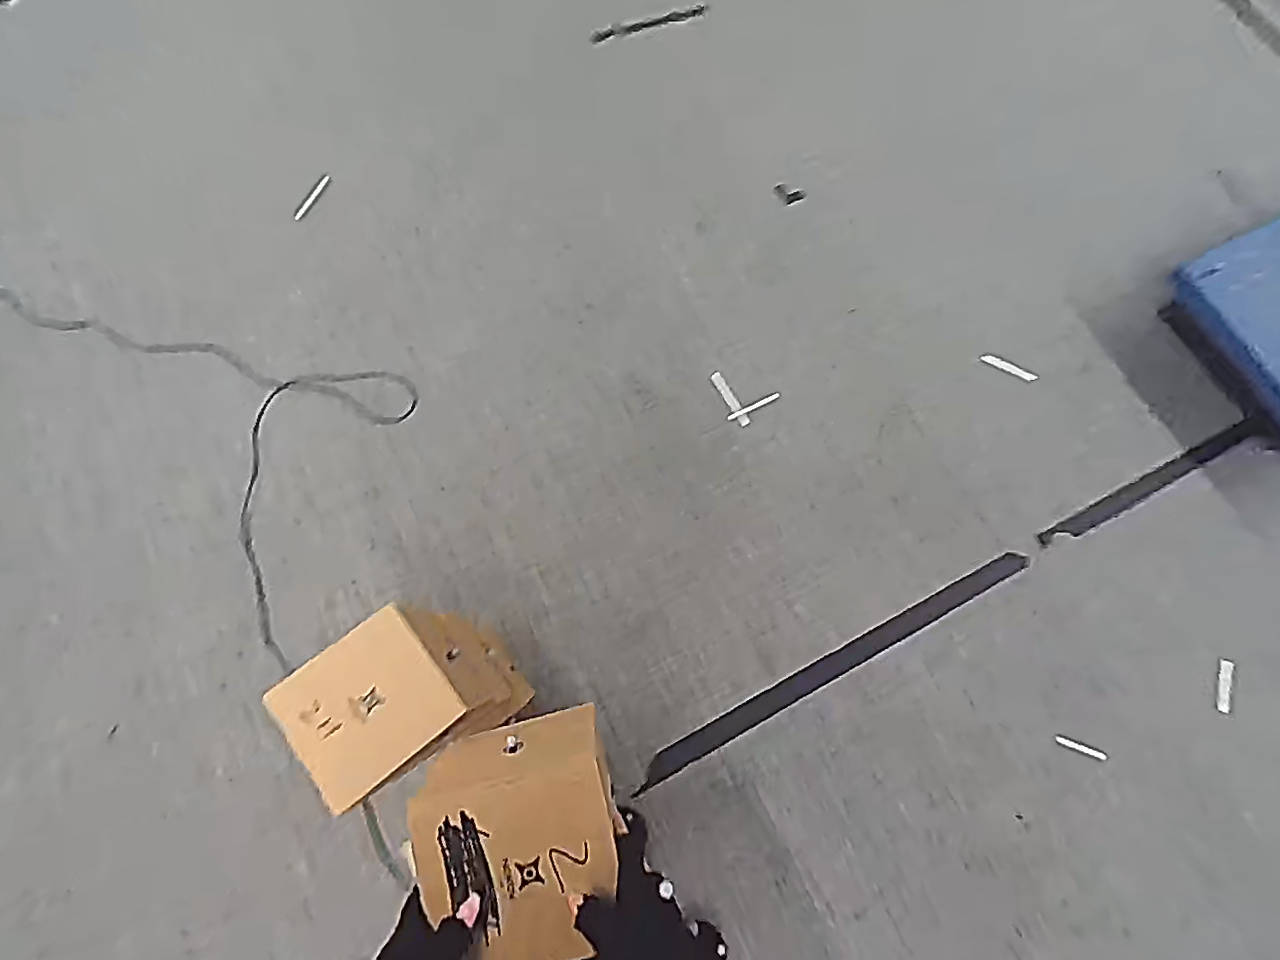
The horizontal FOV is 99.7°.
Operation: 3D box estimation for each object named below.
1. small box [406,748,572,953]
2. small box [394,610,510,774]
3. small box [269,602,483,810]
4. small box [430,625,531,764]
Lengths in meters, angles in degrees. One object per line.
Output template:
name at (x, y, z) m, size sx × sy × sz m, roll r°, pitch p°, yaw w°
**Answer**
small box at (-0.218, 0.541, 0.825) m, size 0.179 × 0.176 × 0.168 m, roll -31°, pitch 78°, yaw -13°
small box at (-0.332, 0.333, 0.875) m, size 0.179 × 0.176 × 0.168 m, roll -34°, pitch 79°, yaw -14°
small box at (-0.328, 0.283, 0.717) m, size 0.179 × 0.176 × 0.168 m, roll -37°, pitch 80°, yaw -14°
small box at (-0.327, 0.398, 1.028) m, size 0.179 × 0.176 × 0.168 m, roll -35°, pitch 79°, yaw -14°
